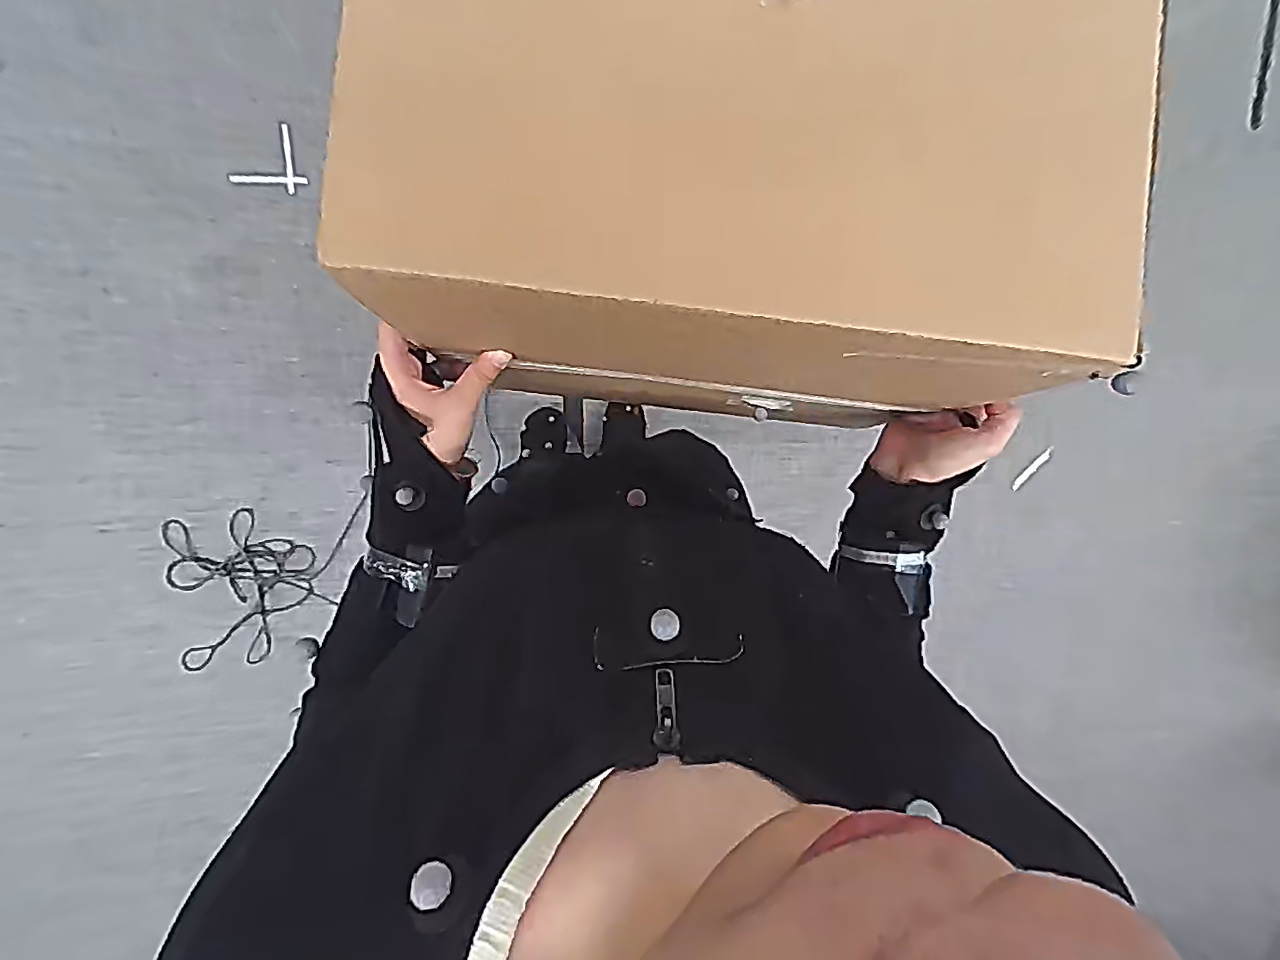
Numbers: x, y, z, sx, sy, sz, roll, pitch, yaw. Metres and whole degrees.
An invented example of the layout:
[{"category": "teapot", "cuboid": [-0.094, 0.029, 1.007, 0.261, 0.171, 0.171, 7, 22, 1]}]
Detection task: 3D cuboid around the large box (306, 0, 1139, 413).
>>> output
[{"category": "large box", "cuboid": [0.043, -0.236, 0.406, 0.408, 0.320, 0.320, 4, 91, -4]}]
